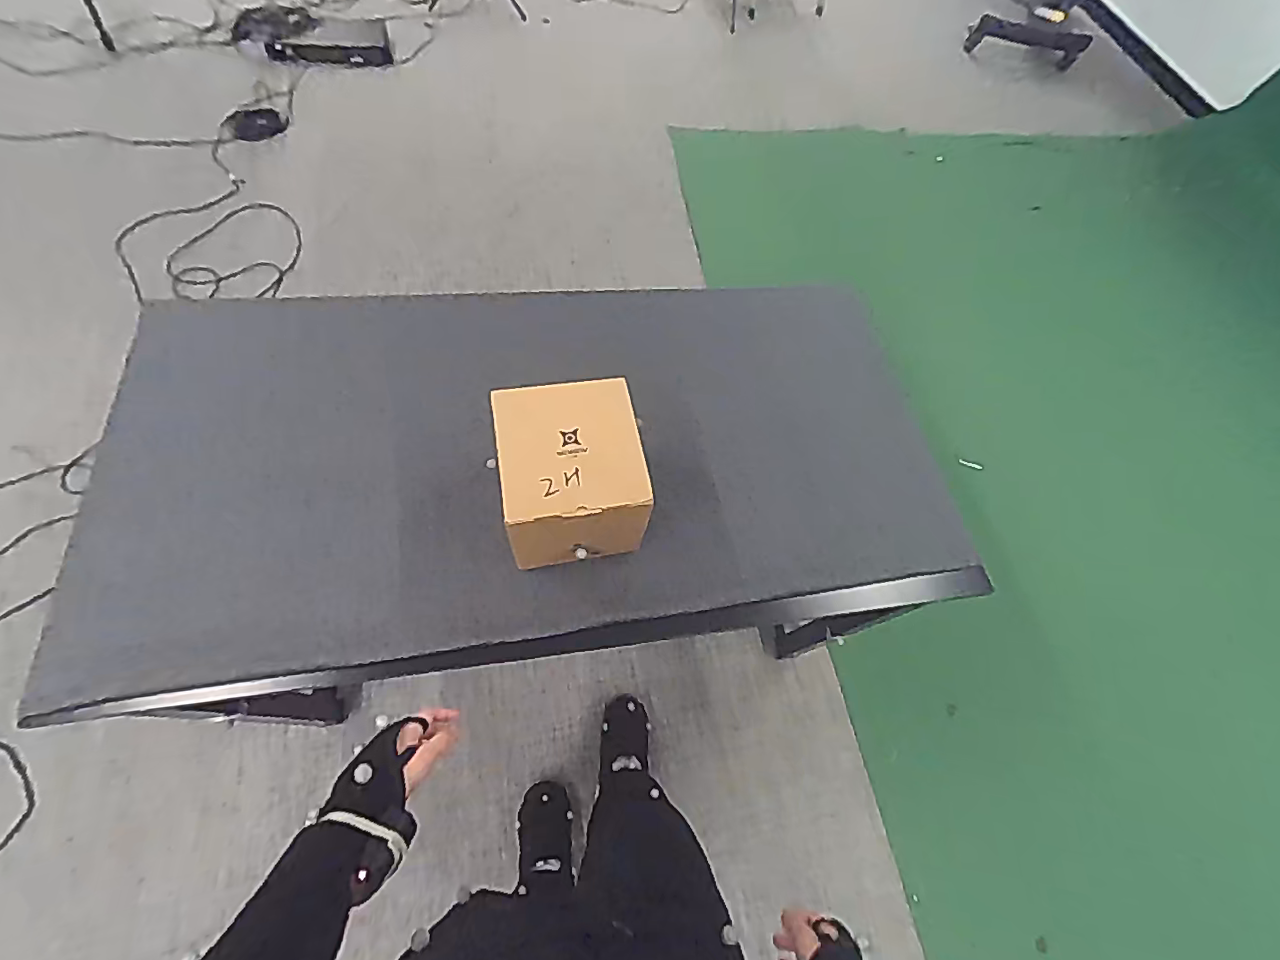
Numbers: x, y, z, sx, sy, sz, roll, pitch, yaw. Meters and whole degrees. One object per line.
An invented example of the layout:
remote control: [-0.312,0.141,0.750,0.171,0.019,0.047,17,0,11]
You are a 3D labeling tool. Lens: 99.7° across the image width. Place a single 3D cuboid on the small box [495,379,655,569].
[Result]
small box: [-0.088,-0.004,0.690,0.168,0.176,0.179,-8,64,-11]
